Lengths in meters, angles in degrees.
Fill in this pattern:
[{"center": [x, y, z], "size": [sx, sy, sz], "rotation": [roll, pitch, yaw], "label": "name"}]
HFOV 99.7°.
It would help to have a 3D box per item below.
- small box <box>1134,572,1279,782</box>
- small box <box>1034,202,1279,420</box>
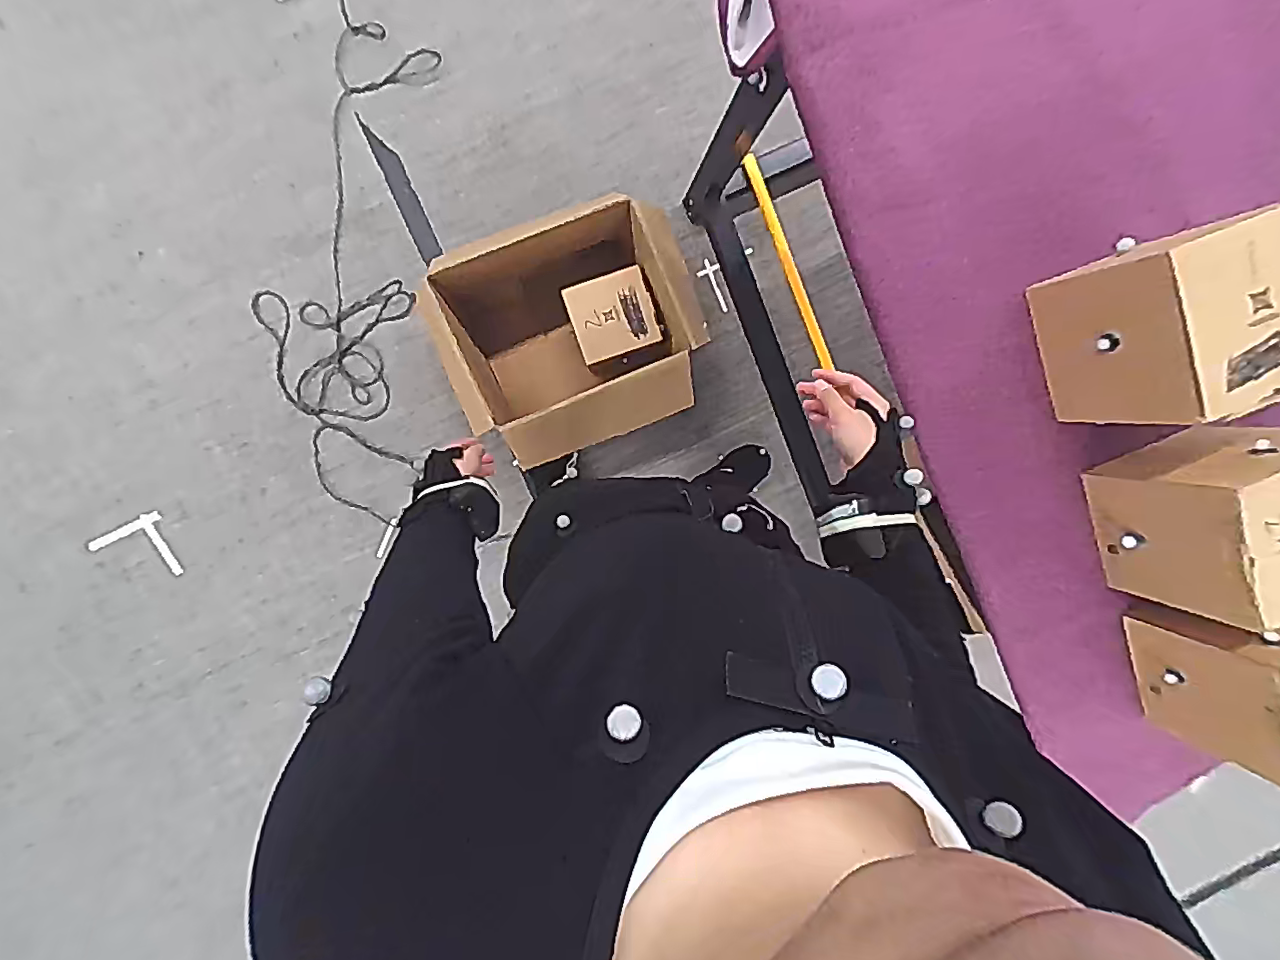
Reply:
[{"center": [0.774, 0.232, 0.663], "size": [0.179, 0.176, 0.168], "rotation": [-21, 98, -4], "label": "small box"}, {"center": [0.586, -0.175, 0.593], "size": [0.168, 0.176, 0.179], "rotation": [-21, 98, -3], "label": "small box"}]
